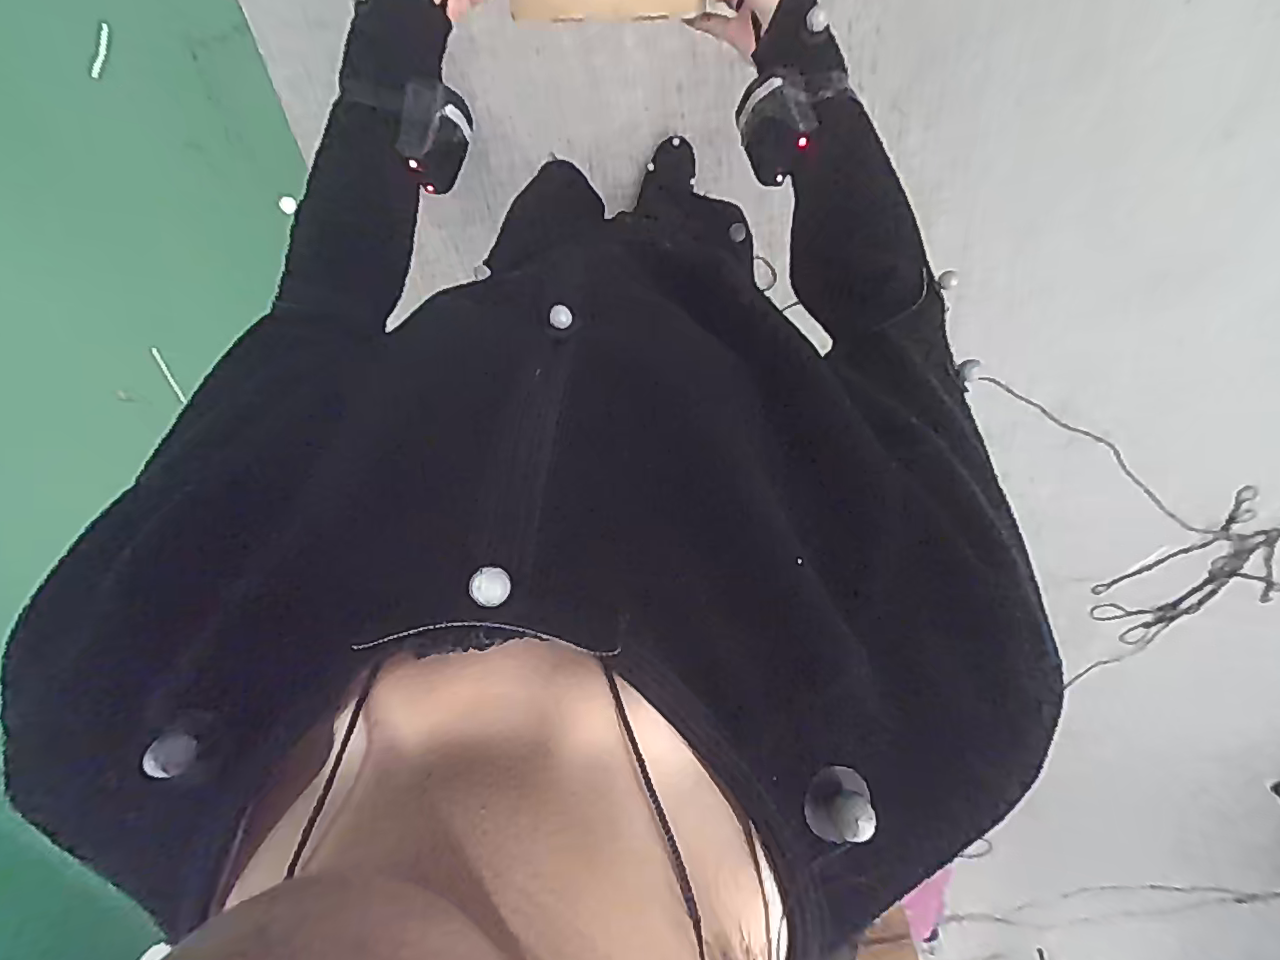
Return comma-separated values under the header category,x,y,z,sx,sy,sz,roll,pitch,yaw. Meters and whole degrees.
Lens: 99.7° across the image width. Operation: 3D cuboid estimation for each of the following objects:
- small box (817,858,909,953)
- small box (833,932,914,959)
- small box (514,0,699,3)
category,x,y,z,sx,sy,sz,roll,pitch,yaw
small box,0.565,1.099,1.386,0.179,0.176,0.168,-10,120,9
small box,0.554,1.181,1.247,0.179,0.176,0.168,-12,119,9
small box,-0.035,-0.513,0.422,0.168,0.176,0.179,-4,148,-4
